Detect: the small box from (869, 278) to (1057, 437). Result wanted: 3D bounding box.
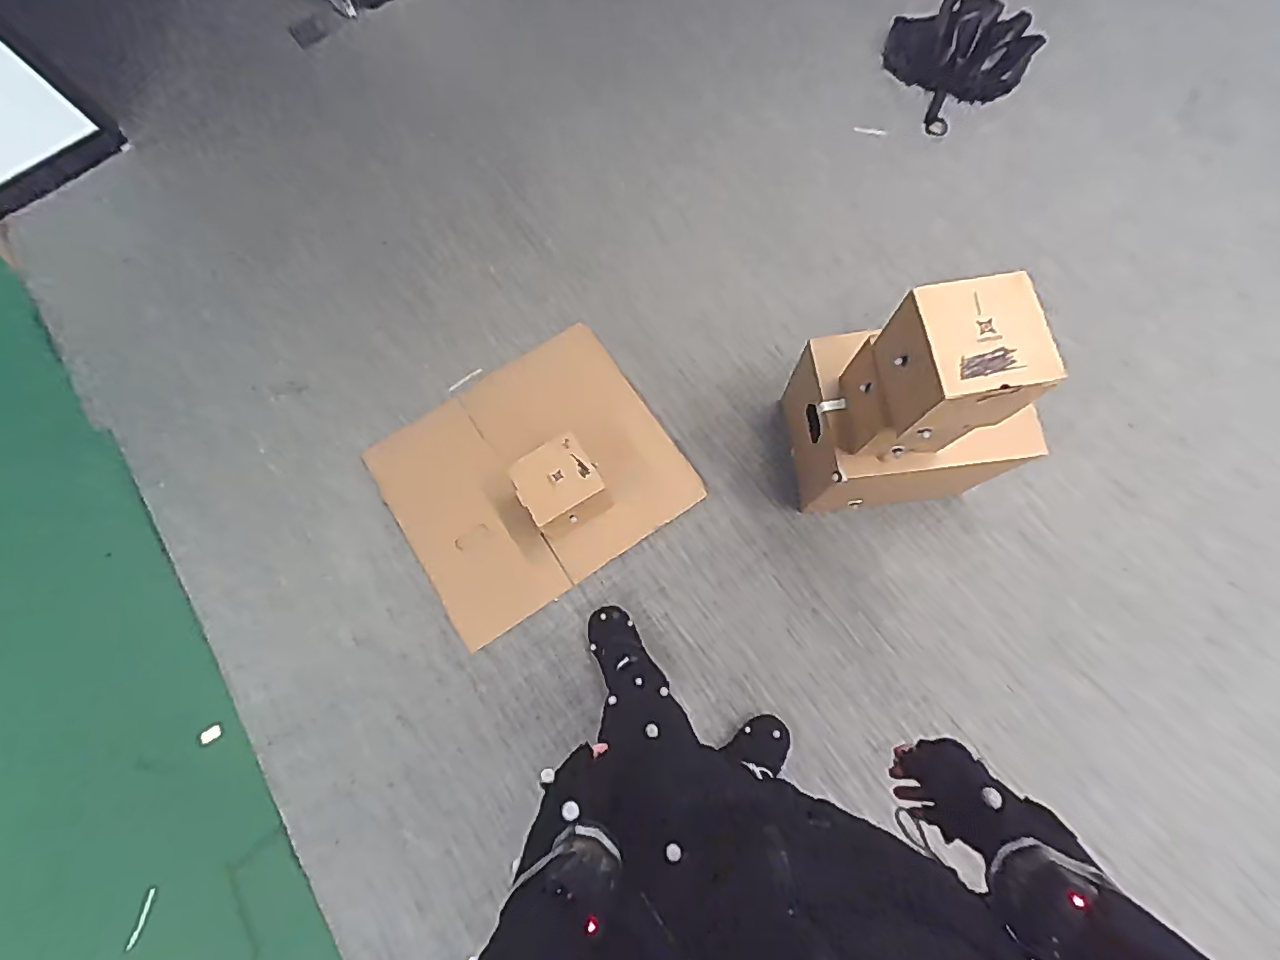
[{"bbox_3d":[0.480,-0.175,0.834,0.168,0.176,0.179,-11,76,1],"label":"small box"}]

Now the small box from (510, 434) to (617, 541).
[{"bbox_3d":[-0.177,0.025,1.296,0.179,0.176,0.168,-35,73,-4],"label":"small box"}]

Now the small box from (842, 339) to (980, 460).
[{"bbox_3d":[0.486,-0.147,0.997,0.168,0.176,0.179,-4,76,3],"label":"small box"}]
